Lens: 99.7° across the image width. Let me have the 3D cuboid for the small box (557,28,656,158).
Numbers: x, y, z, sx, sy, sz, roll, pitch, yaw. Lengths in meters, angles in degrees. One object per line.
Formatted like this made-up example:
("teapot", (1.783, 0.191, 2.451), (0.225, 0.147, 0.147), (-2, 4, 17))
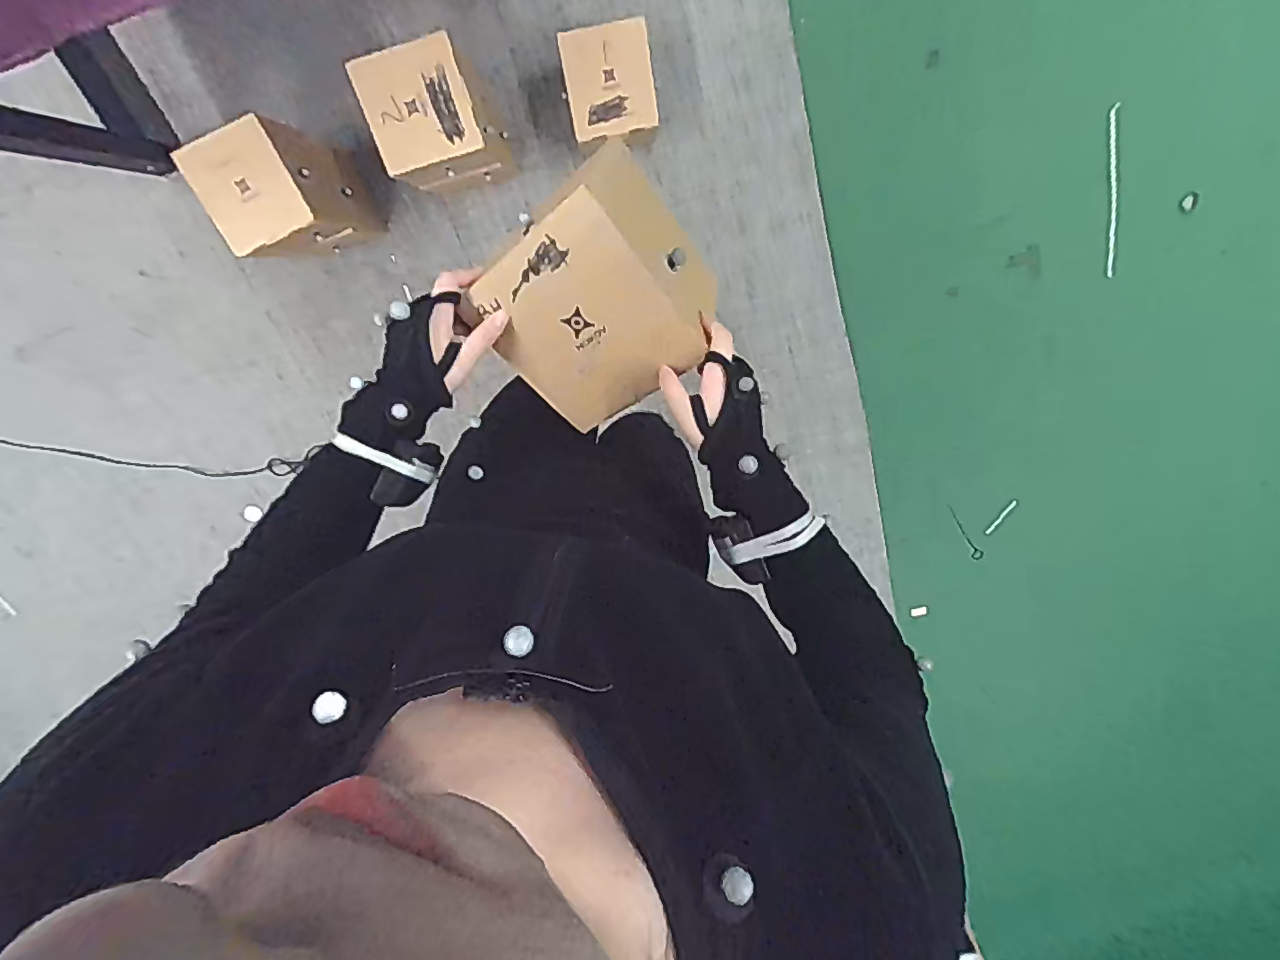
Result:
("small box", (-0.063, -0.769, 1.098), (0.168, 0.176, 0.179), (-10, 112, 2))

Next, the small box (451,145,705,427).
("small box", (-0.045, -0.192, 0.542), (0.168, 0.176, 0.179), (-27, 123, 29))
